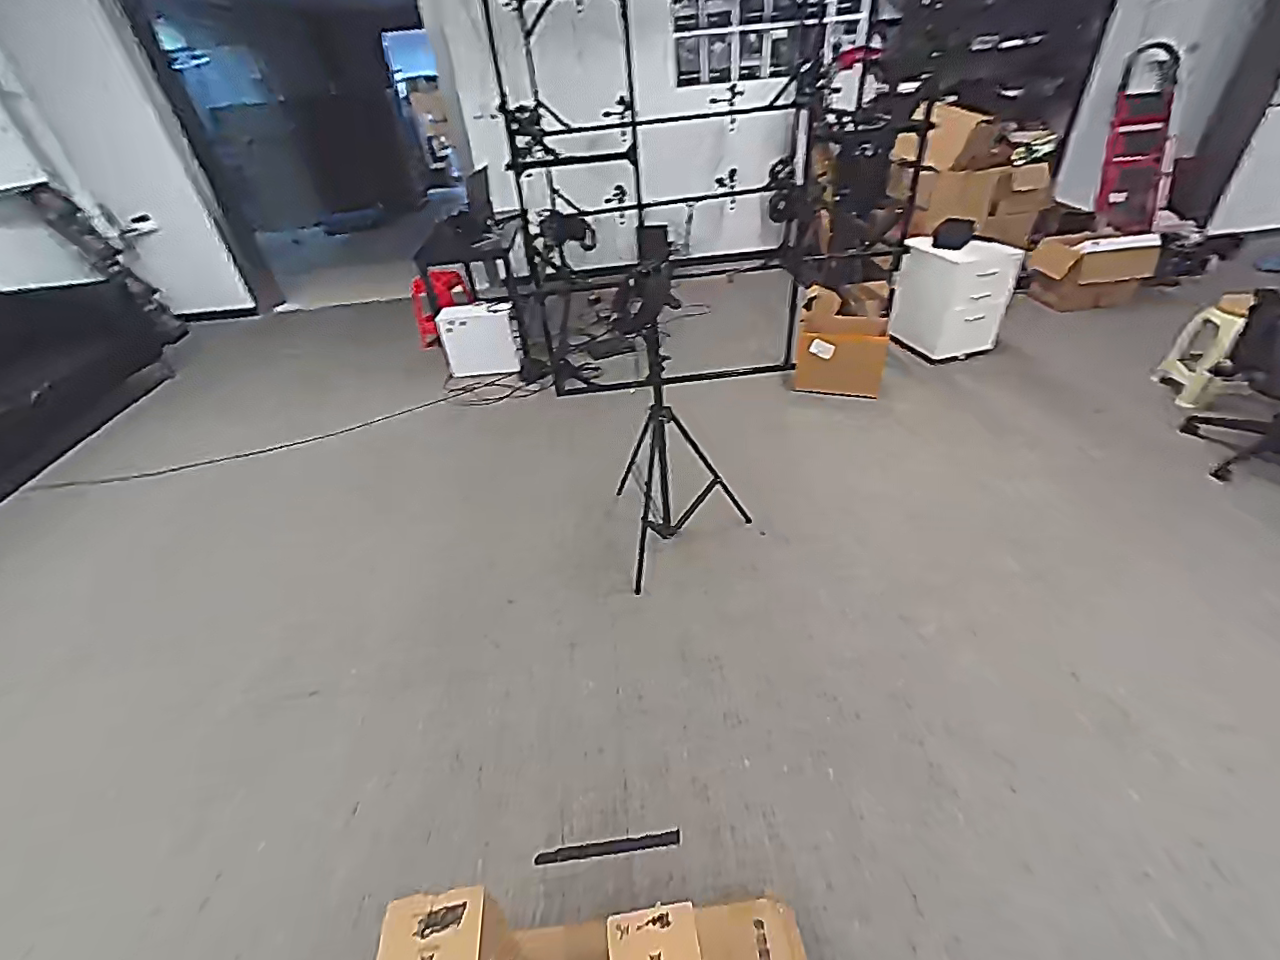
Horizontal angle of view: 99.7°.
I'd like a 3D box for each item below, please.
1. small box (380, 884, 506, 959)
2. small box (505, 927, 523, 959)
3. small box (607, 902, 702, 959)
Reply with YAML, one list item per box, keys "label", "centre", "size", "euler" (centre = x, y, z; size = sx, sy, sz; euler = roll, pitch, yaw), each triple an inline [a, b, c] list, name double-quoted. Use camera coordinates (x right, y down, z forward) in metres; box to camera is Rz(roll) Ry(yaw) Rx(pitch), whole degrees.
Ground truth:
- label: "small box"
  centre: [-0.327, 0.821, 0.906]
  size: [0.168, 0.176, 0.179]
  euler: [-7, 36, -3]
- label: "small box"
  centre: [-0.312, 0.962, 0.990]
  size: [0.168, 0.176, 0.179]
  euler: [-7, 36, -2]
- label: "small box"
  centre: [0.036, 0.924, 1.001]
  size: [0.168, 0.176, 0.179]
  euler: [-9, 37, -1]
